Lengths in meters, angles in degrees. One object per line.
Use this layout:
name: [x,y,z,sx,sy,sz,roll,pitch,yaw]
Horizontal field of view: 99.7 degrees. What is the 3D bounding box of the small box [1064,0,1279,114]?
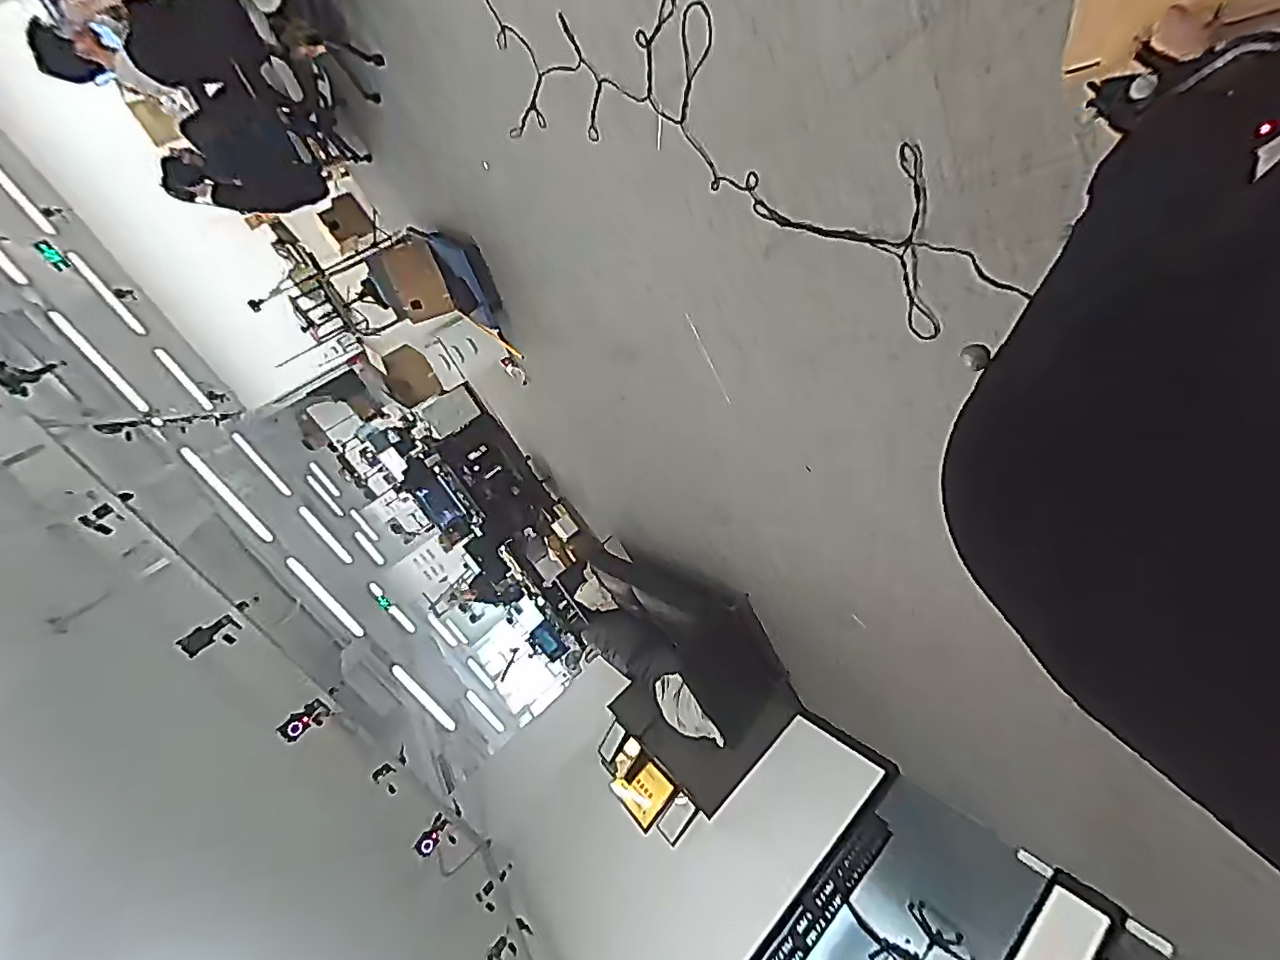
small box: [0.517,-0.469,0.488,0.168,0.179,0.176,17,114,48]
